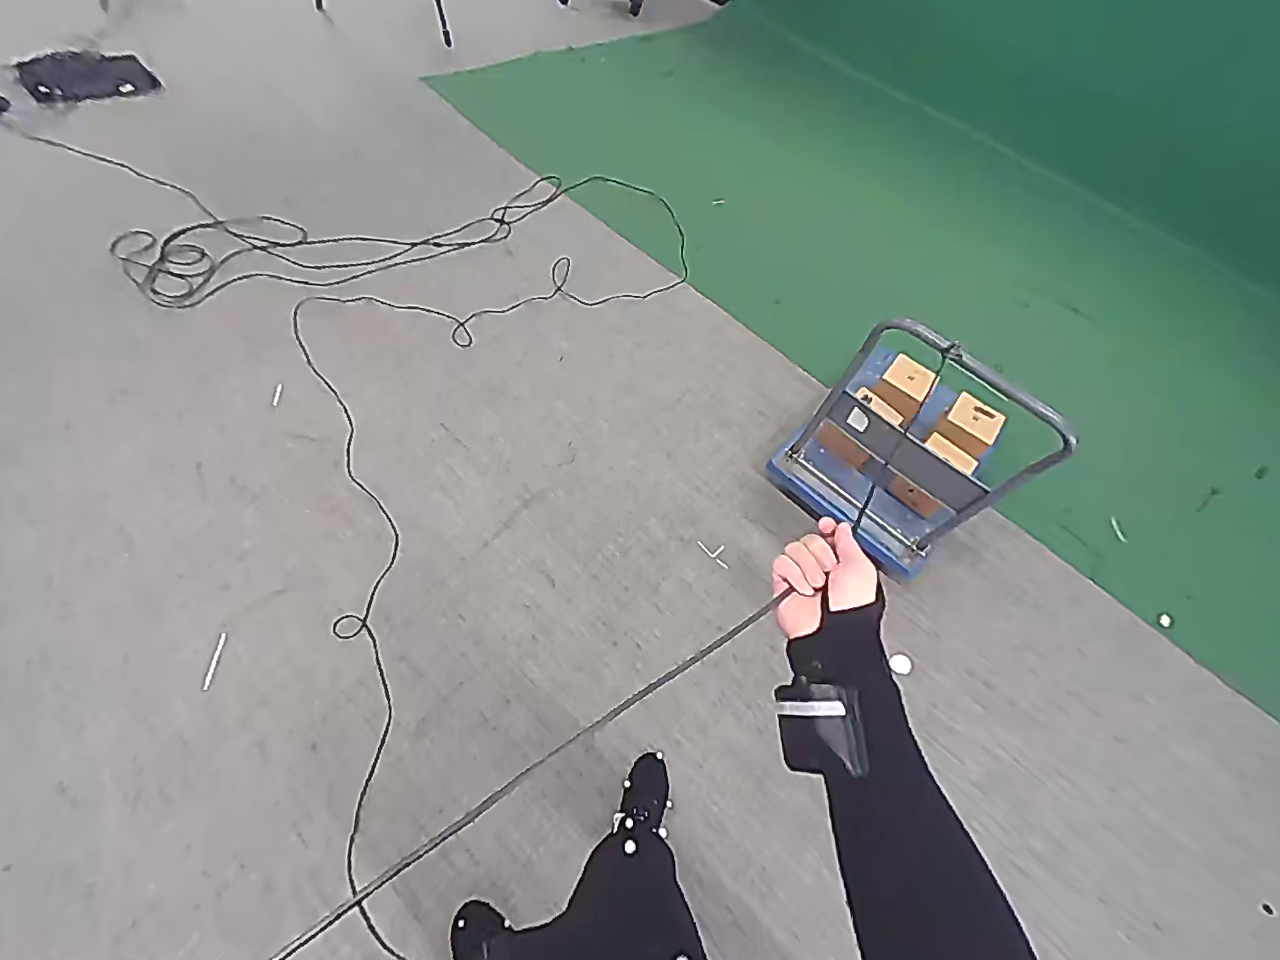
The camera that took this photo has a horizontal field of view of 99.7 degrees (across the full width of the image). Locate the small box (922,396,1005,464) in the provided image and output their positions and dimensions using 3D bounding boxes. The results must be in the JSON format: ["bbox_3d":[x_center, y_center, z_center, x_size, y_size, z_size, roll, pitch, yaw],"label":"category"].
[{"bbox_3d":[1.141,-0.157,1.919,0.168,0.176,0.179,38,60,14],"label":"small box"}]

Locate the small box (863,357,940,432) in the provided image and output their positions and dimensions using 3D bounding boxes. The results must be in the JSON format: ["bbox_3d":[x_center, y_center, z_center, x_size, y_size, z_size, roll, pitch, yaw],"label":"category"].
[{"bbox_3d":[0.947,-0.307,1.976,0.168,0.176,0.179,39,59,13],"label":"small box"}]

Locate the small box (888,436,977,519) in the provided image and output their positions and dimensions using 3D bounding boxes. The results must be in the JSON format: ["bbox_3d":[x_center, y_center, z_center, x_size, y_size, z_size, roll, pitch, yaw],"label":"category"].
[{"bbox_3d":[0.960,-0.005,1.788,0.168,0.176,0.179,42,61,16],"label":"small box"}]
